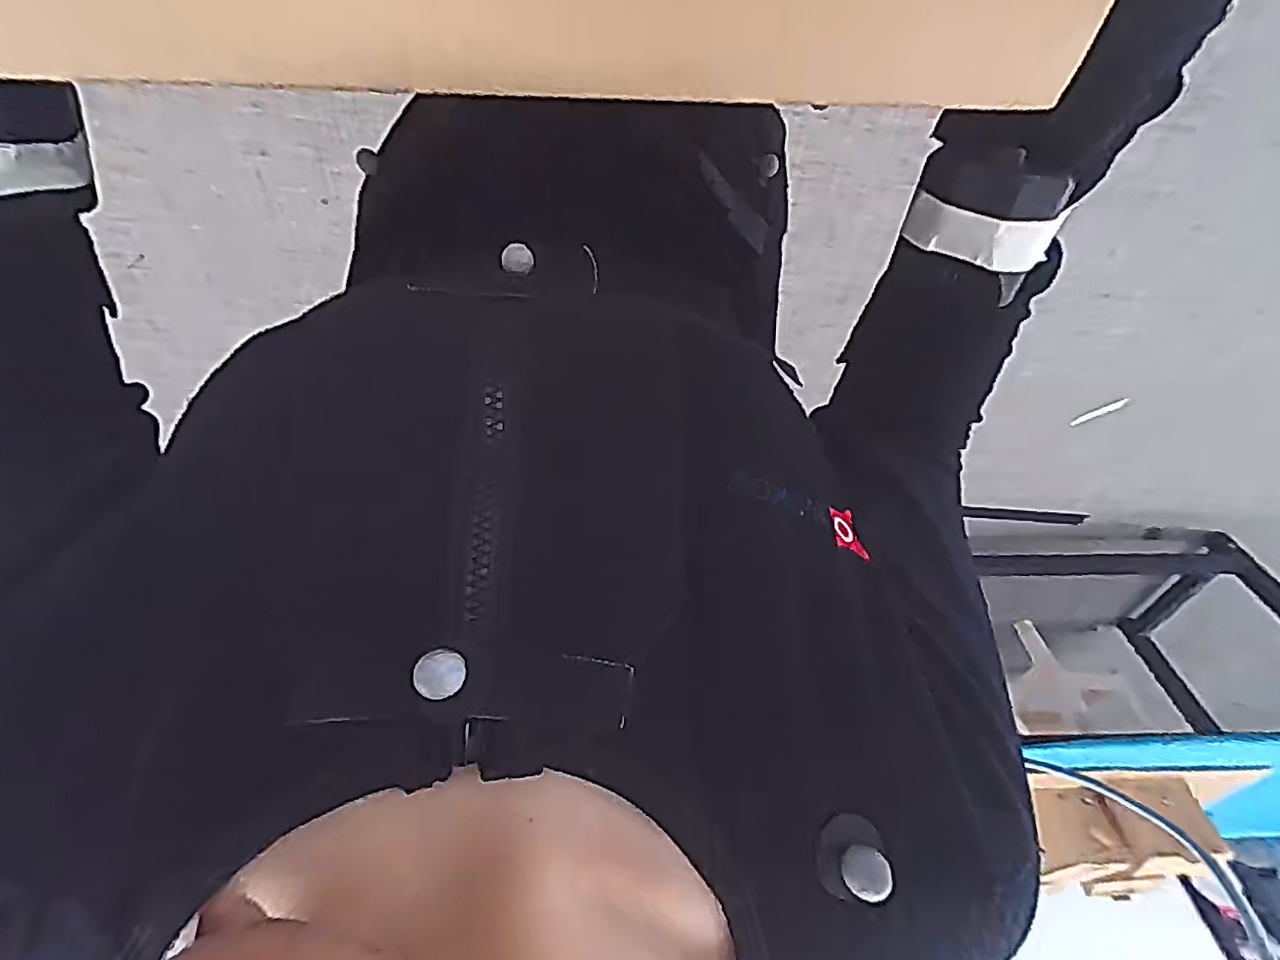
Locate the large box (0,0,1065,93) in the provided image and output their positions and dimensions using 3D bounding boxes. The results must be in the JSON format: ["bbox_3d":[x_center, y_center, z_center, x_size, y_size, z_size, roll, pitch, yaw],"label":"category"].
[{"bbox_3d":[-0.048,-0.361,0.178,0.408,0.320,0.320,-1,140,-4],"label":"large box"}]
